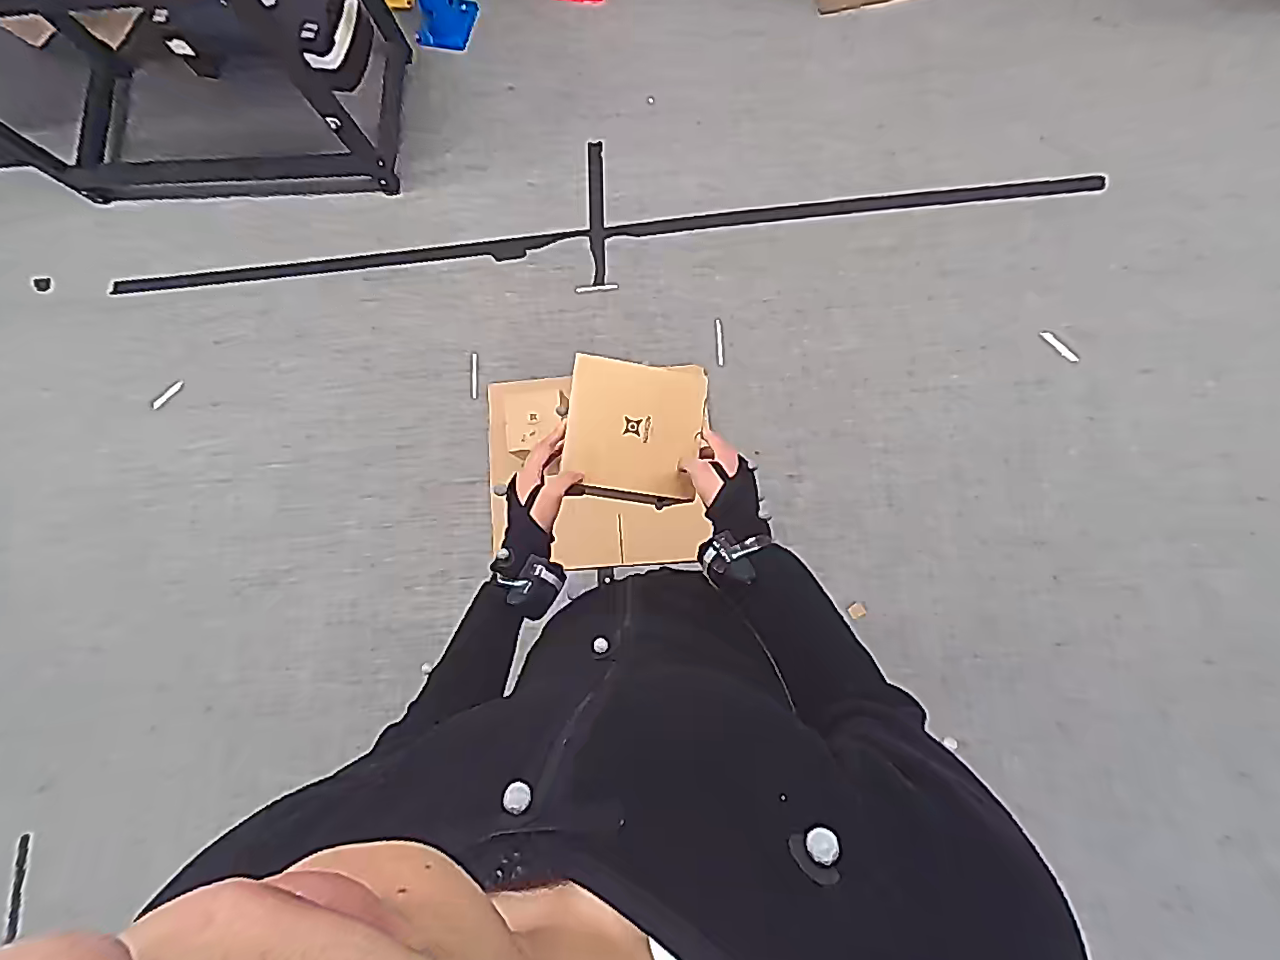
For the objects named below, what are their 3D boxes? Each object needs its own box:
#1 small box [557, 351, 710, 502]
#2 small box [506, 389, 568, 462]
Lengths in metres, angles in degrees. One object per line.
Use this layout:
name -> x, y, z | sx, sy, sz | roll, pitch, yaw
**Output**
small box -> -0.018, -0.062, 0.753 | 0.179, 0.176, 0.168 | 8, 85, -10
small box -> -0.295, -0.159, 1.621 | 0.168, 0.176, 0.179 | -5, 82, 5
